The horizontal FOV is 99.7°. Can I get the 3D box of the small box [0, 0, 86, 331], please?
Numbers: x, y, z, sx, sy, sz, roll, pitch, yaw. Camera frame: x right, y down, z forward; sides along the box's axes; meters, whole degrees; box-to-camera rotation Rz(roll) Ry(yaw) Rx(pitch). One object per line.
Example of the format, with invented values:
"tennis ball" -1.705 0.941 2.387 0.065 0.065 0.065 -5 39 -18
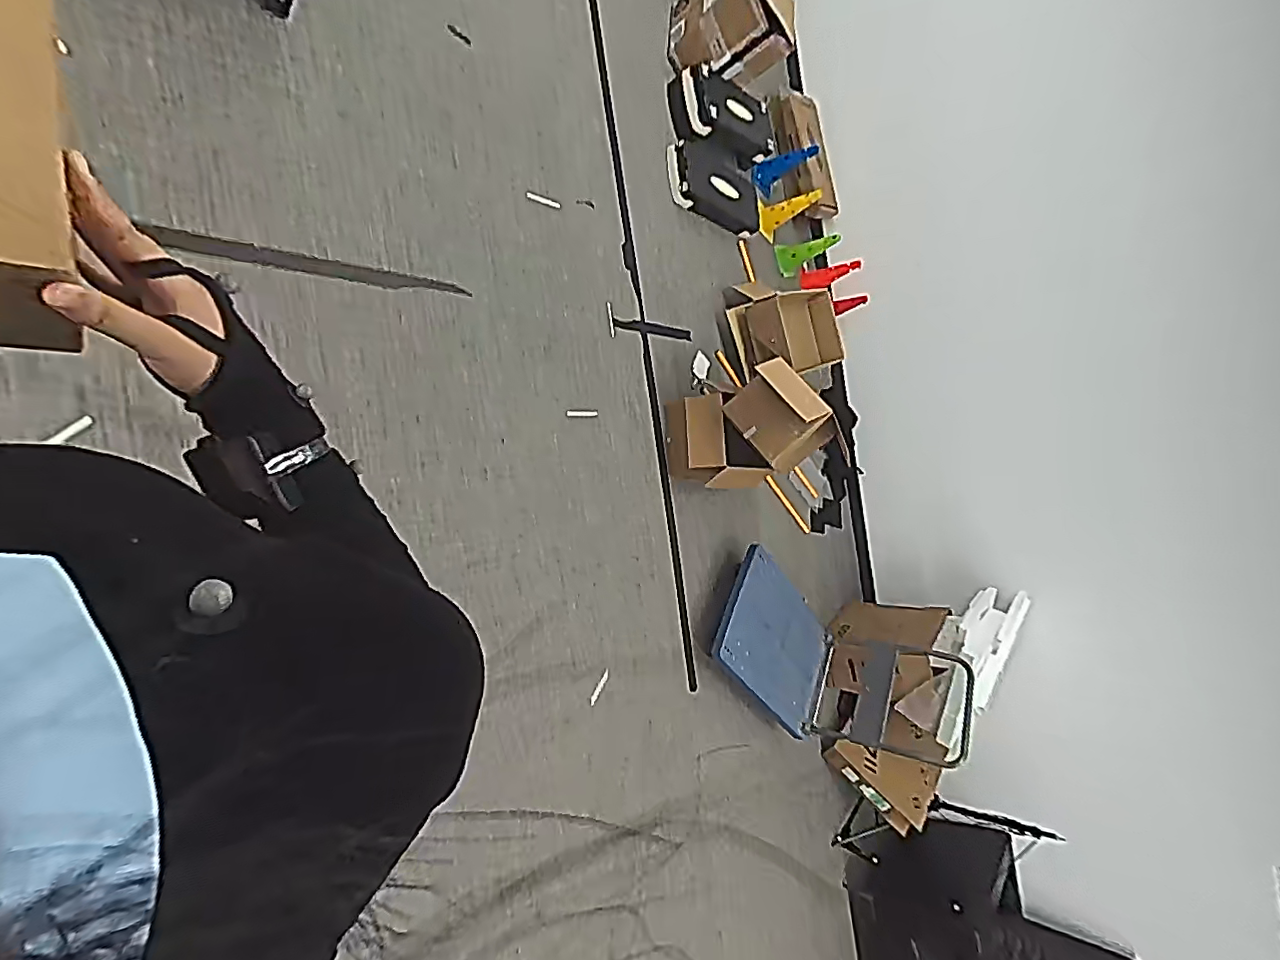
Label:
"small box" -0.415 -0.191 0.284 0.168 0.176 0.179 -5 87 -46
